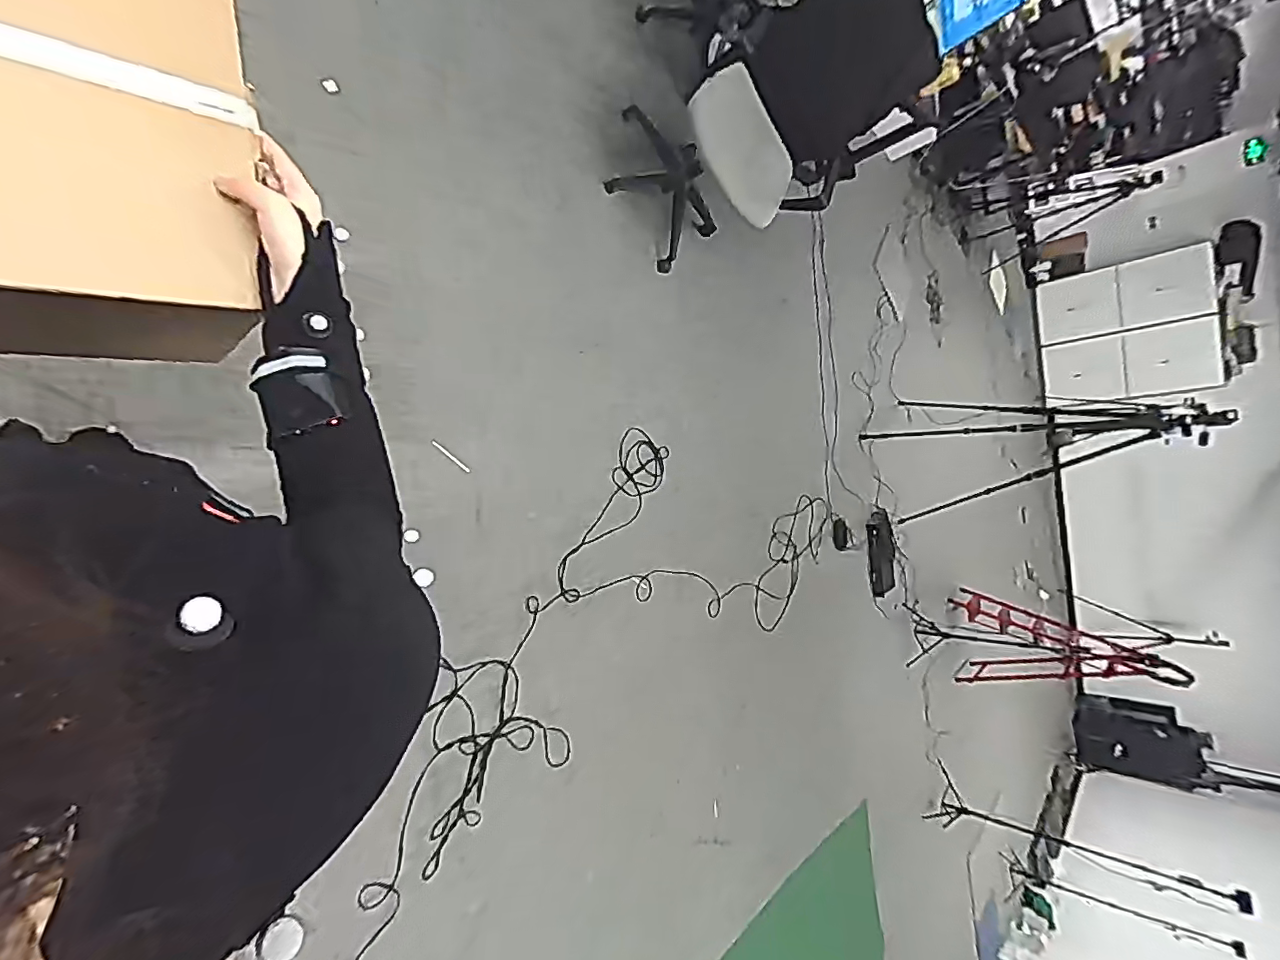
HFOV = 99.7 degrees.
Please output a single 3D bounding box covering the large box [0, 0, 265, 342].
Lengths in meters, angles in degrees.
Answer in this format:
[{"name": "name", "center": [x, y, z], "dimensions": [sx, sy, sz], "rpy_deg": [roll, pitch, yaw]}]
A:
[{"name": "large box", "center": [-0.579, -0.291, 0.428], "dimensions": [0.408, 0.320, 0.320], "rpy_deg": [-9, 97, -43]}]
